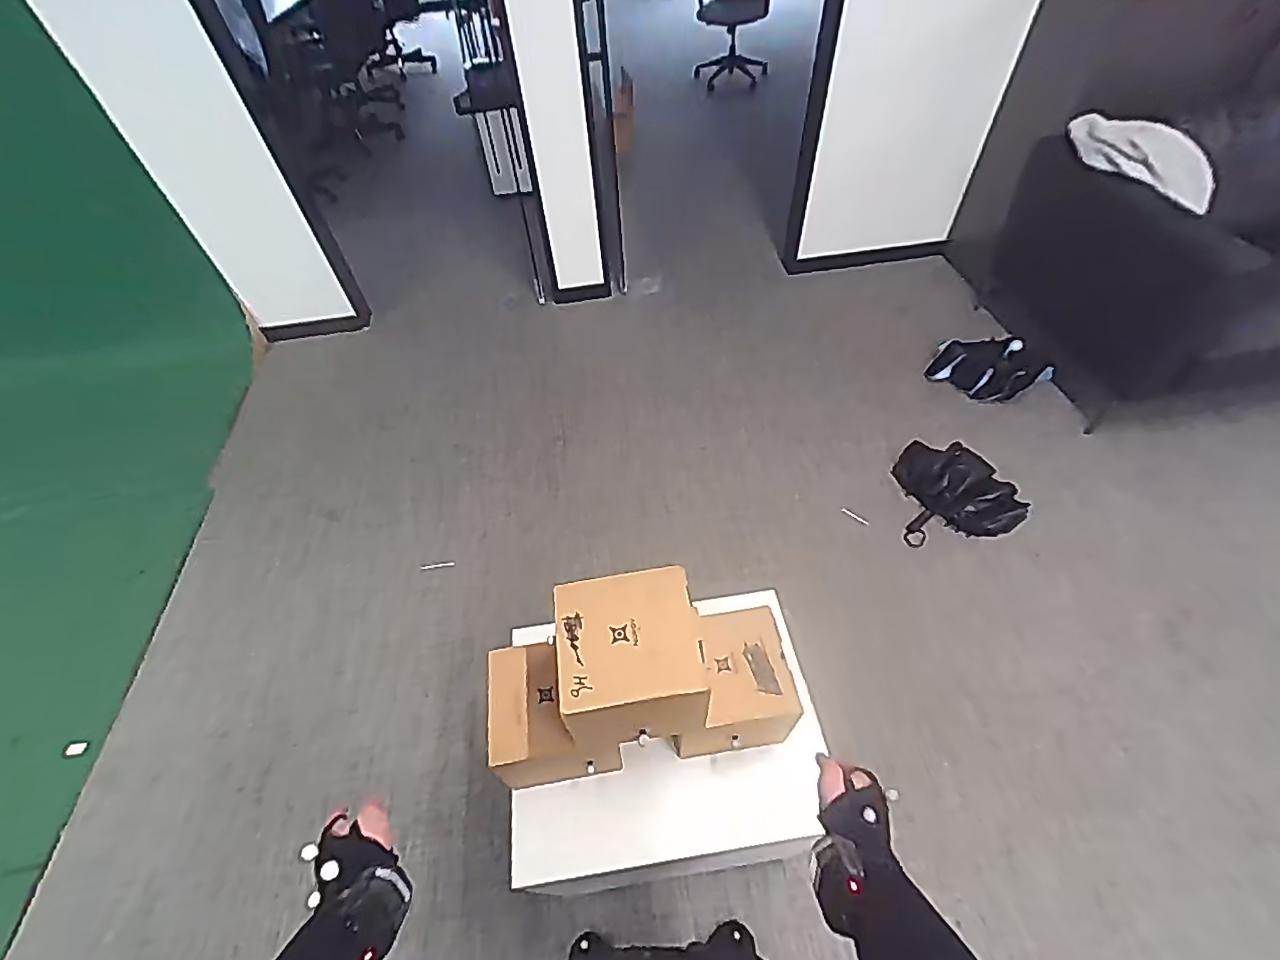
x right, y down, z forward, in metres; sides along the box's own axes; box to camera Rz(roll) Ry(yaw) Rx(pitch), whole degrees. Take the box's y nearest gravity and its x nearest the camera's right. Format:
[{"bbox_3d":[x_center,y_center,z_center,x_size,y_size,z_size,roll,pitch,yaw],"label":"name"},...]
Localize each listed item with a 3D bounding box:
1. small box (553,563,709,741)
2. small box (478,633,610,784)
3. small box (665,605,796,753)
[{"bbox_3d":[-0.017,0.229,0.713,0.179,0.176,0.168,-6,51,-5],"label":"small box"},{"bbox_3d":[-0.141,0.347,0.828,0.179,0.176,0.168,-8,50,-6],"label":"small box"},{"bbox_3d":[0.122,0.315,0.851,0.179,0.176,0.168,-7,51,-4],"label":"small box"}]
